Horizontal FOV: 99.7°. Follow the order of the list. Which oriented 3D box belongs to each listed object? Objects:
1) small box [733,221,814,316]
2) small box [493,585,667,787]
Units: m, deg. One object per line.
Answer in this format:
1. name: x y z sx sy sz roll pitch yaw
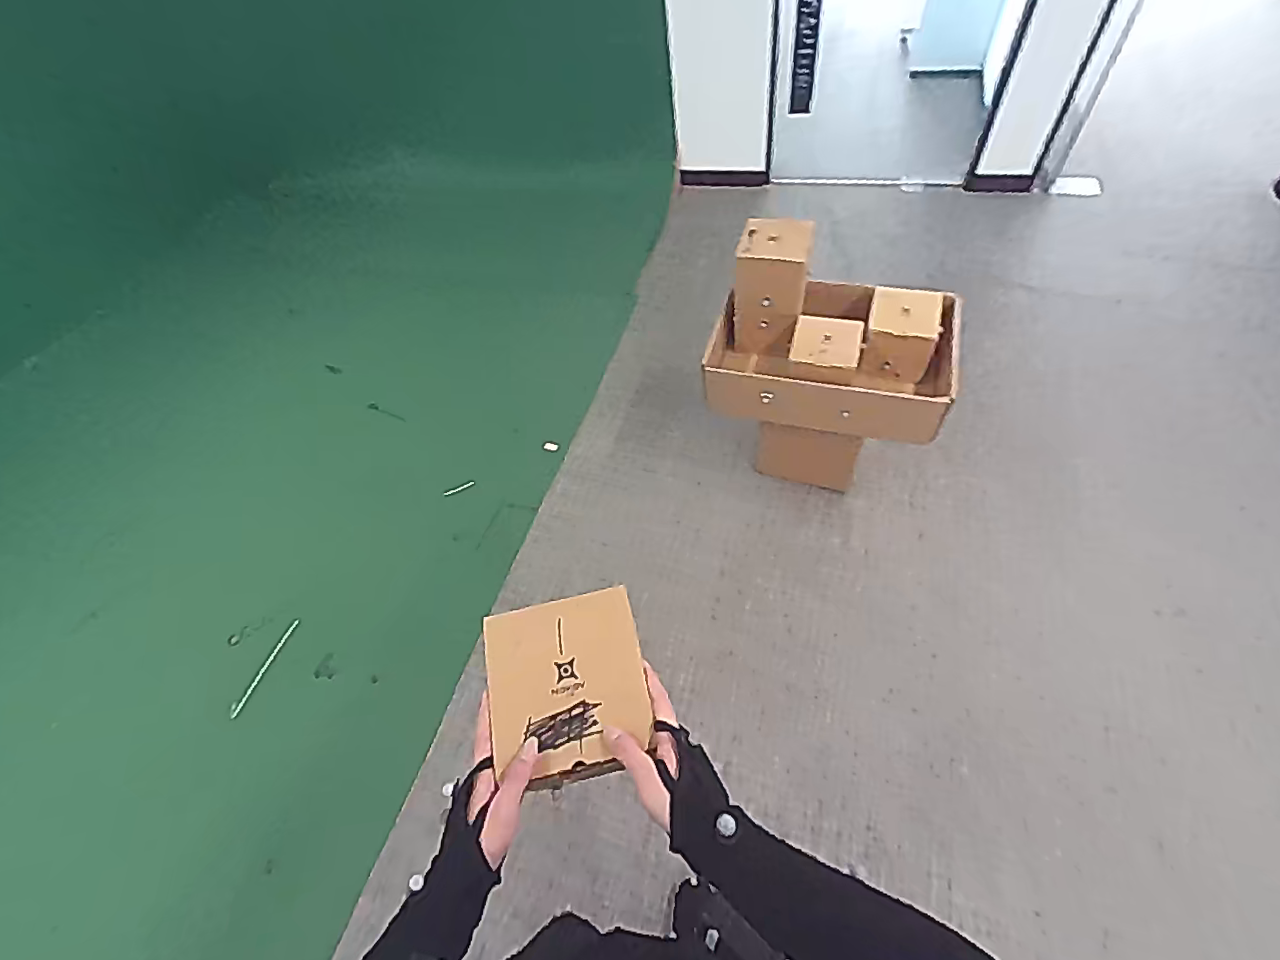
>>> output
1. small box: 0.352 -0.560 1.443 0.179 0.176 0.168 12 60 16
2. small box: -0.064 0.247 0.635 0.168 0.176 0.179 -12 59 -3
